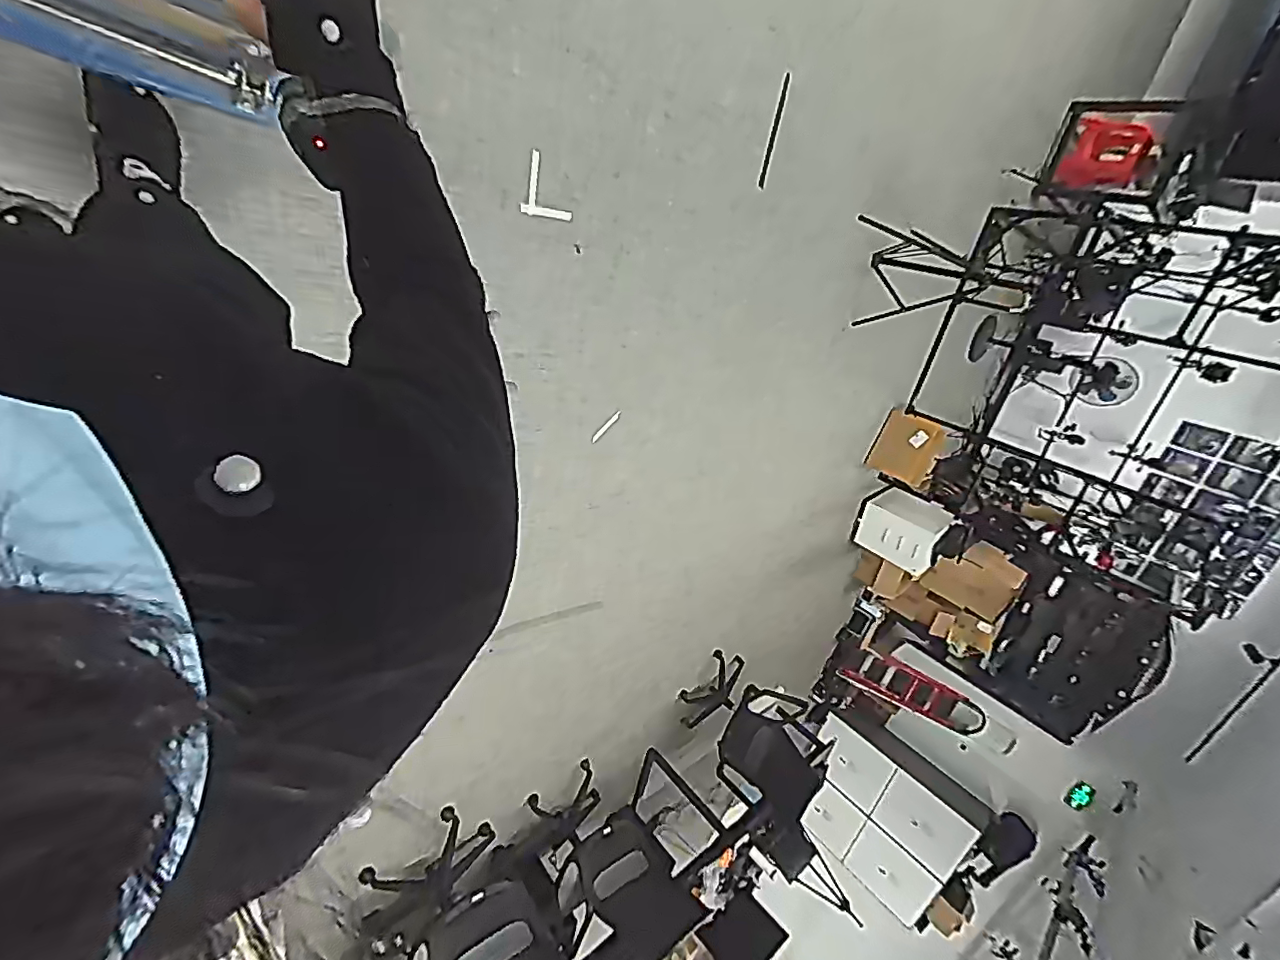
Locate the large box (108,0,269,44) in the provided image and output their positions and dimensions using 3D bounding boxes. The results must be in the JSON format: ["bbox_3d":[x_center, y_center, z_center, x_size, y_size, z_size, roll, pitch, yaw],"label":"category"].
[{"bbox_3d":[-0.674,-0.763,0.588,0.408,0.320,0.320,-4,118,-47],"label":"large box"}]
